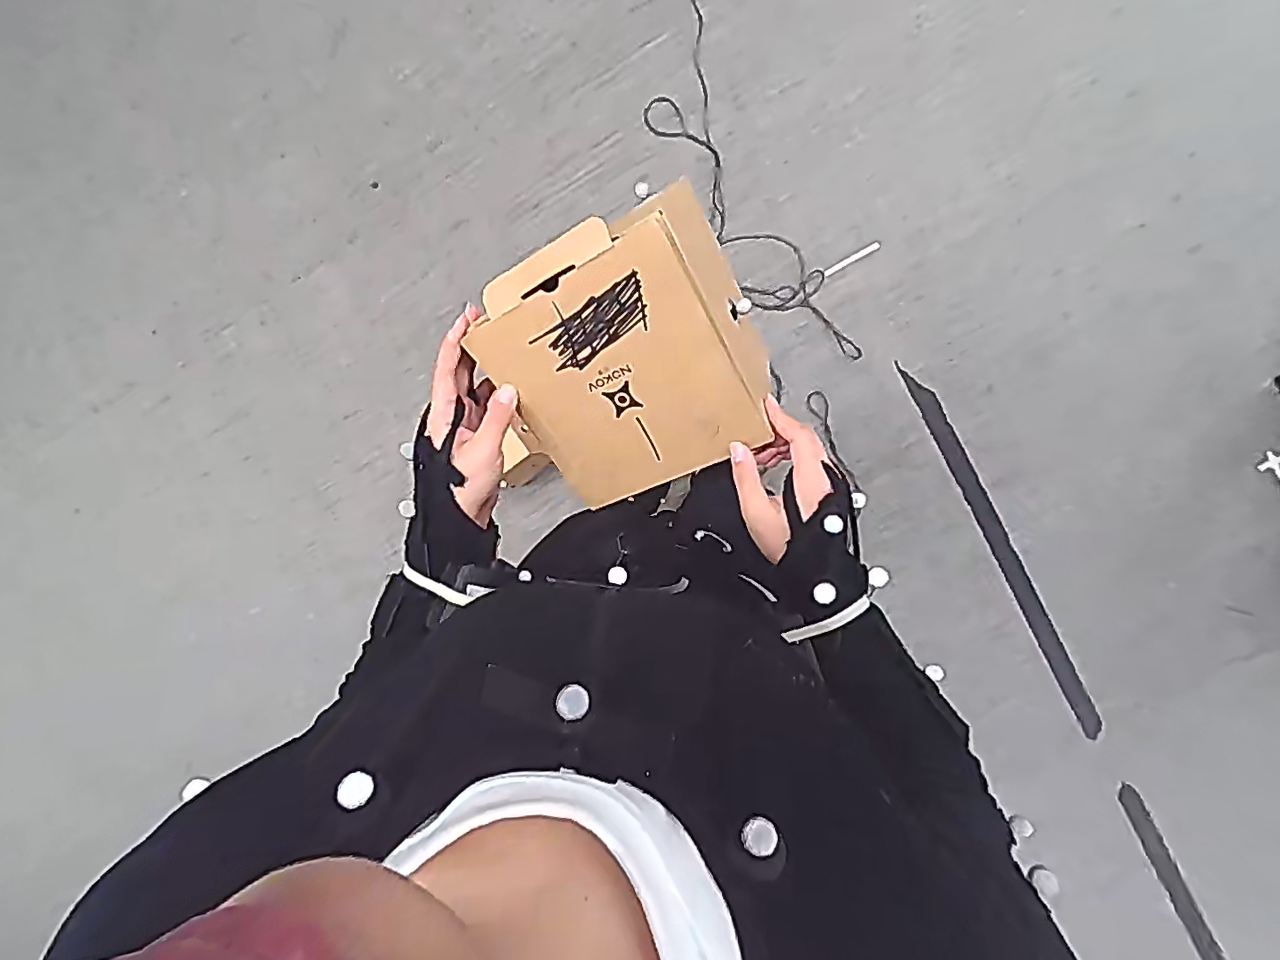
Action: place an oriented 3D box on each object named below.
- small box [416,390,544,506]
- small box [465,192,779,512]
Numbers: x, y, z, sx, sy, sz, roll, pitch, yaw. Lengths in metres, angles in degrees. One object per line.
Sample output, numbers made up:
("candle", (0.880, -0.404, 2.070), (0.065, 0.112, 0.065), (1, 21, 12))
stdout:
("small box", (-0.322, -0.070, 1.138), (0.179, 0.176, 0.168), (-37, 90, 8))
("small box", (0.001, -0.109, 0.441), (0.168, 0.176, 0.179), (-21, 119, 25))
